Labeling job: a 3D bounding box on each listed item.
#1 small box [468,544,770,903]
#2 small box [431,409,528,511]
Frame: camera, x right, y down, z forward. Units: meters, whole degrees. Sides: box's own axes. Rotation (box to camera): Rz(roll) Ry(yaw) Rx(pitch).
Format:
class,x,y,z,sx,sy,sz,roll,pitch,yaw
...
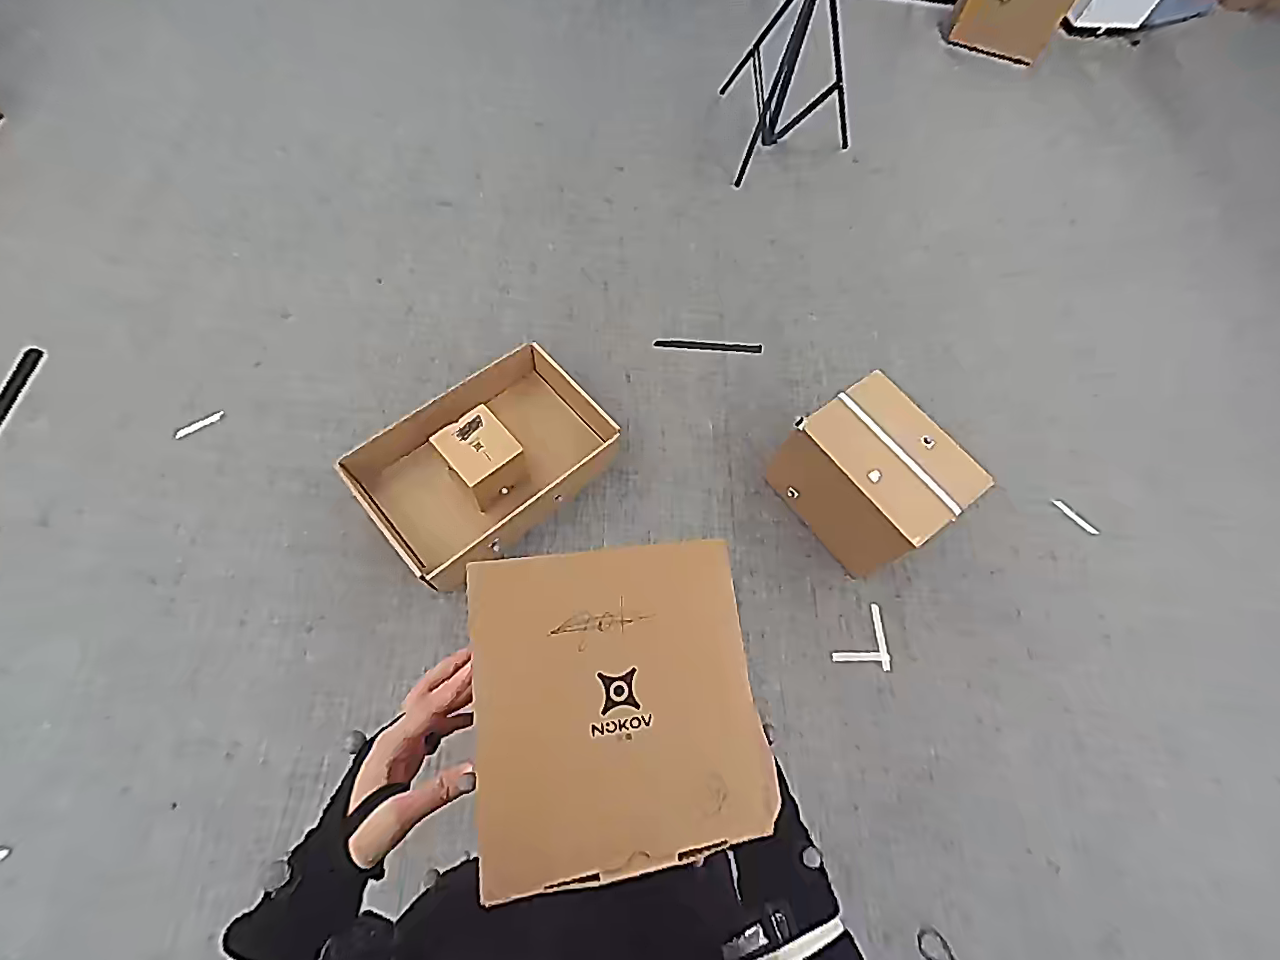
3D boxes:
class,x,y,z,sx,sy,sz,roll,pitch,yaw
small box,-0.030,0.153,0.393,0.168,0.176,0.179,-4,74,-16
small box,-0.416,-0.048,1.428,0.168,0.176,0.179,-39,75,-20
